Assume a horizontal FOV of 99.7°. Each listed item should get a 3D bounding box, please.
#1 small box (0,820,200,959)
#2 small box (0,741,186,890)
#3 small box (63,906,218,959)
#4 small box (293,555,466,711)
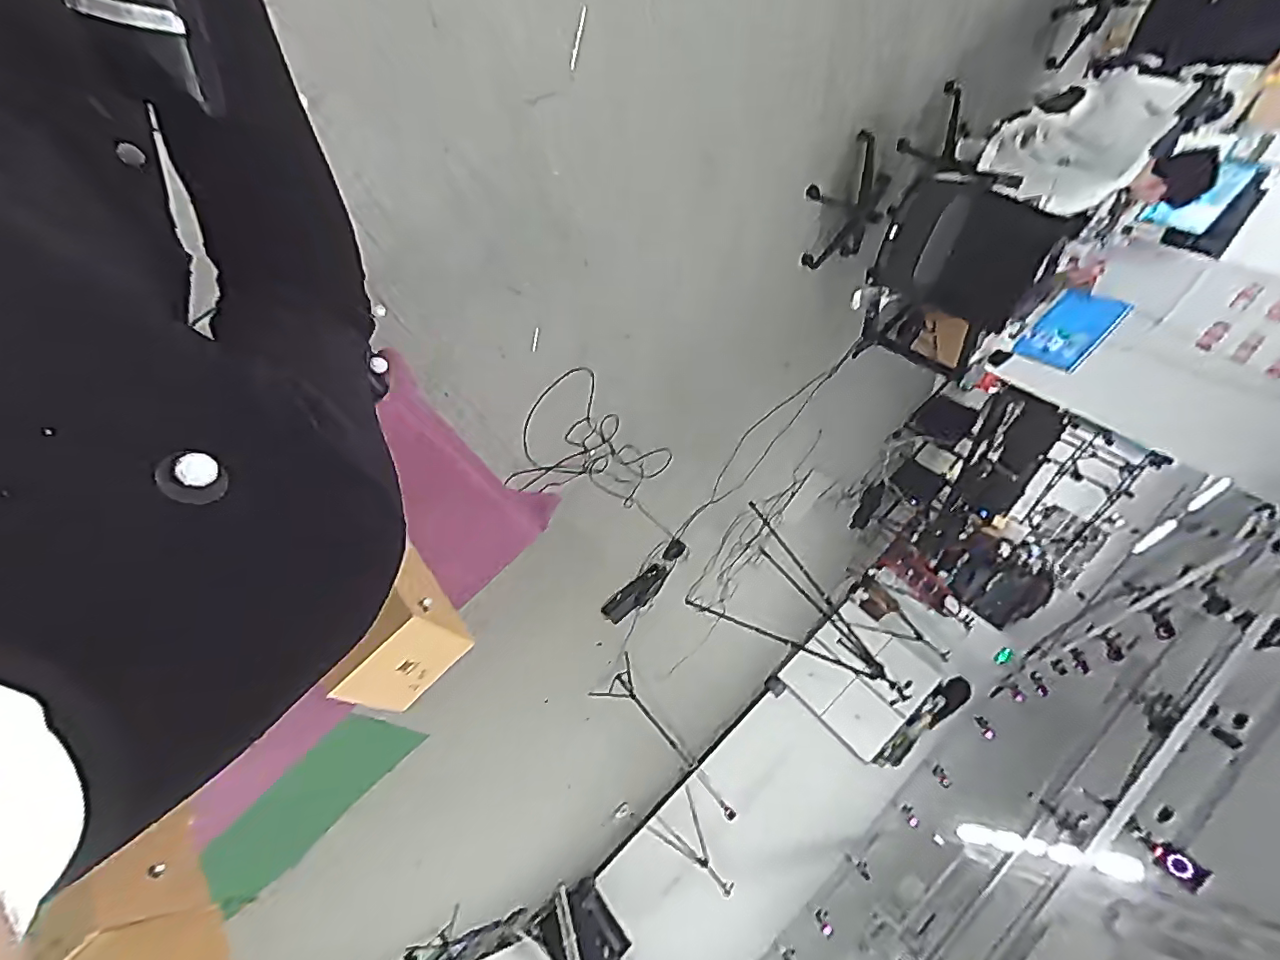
[{"bbox_3d":[-0.857,0.668,0.846,0.168,0.176,0.179,-44,150,-10],"label":"small box"},{"bbox_3d":[-0.959,0.587,0.946,0.168,0.176,0.179,-43,148,-12],"label":"small box"},{"bbox_3d":[-0.750,0.764,0.771,0.168,0.176,0.179,-45,150,-9],"label":"small box"},{"bbox_3d":[-0.437,0.252,0.908,0.168,0.176,0.179,-42,147,-9],"label":"small box"}]
